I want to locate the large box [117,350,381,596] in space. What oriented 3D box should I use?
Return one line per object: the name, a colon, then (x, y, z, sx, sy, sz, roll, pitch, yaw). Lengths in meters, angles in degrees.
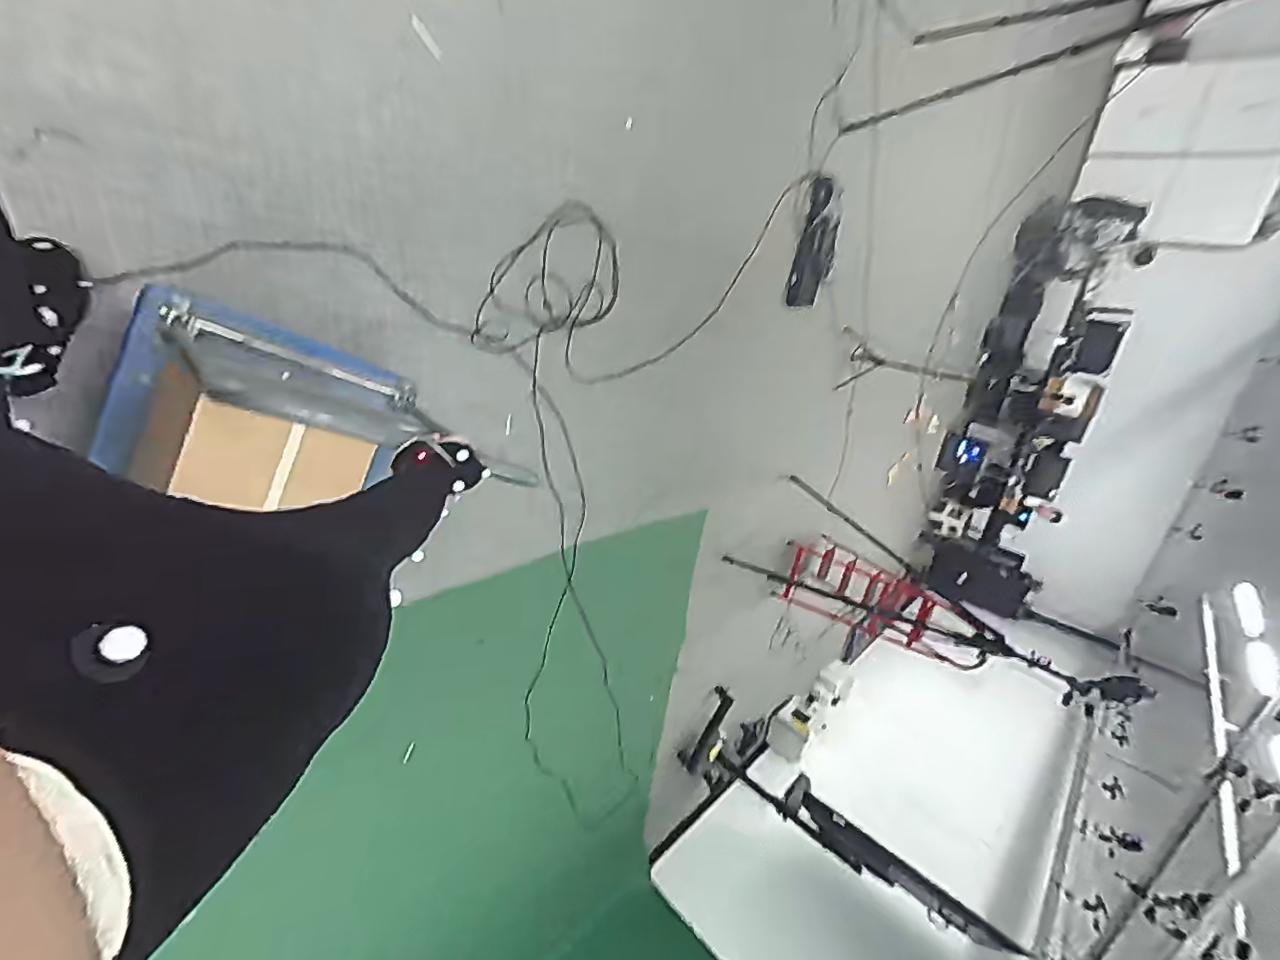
large box: (-0.813, -0.010, 1.129, 0.320, 0.320, 0.408, 16, 97, -52)
